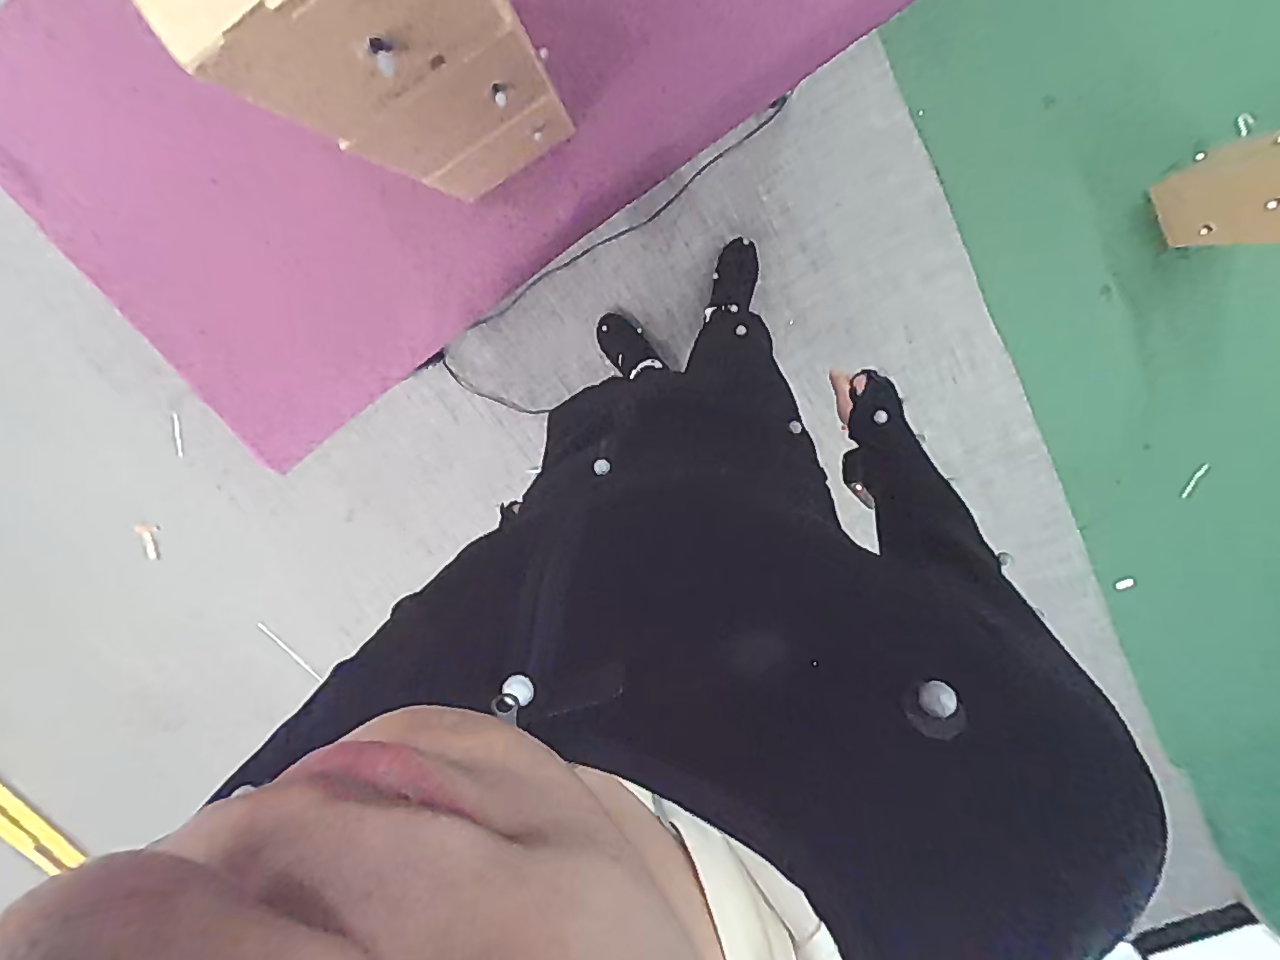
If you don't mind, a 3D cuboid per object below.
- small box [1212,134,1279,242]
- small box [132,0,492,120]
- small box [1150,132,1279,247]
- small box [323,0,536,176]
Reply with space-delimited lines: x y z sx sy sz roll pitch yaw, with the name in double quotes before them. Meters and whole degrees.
"small box" 1.375 -0.619 1.129 0.168 0.176 0.179 -33 106 14
"small box" -0.218 -0.358 0.332 0.168 0.176 0.179 -27 107 11
"small box" 1.380 -0.678 1.280 0.168 0.176 0.179 -34 106 13
"small box" -0.211 -0.409 0.487 0.179 0.176 0.168 -27 107 11
